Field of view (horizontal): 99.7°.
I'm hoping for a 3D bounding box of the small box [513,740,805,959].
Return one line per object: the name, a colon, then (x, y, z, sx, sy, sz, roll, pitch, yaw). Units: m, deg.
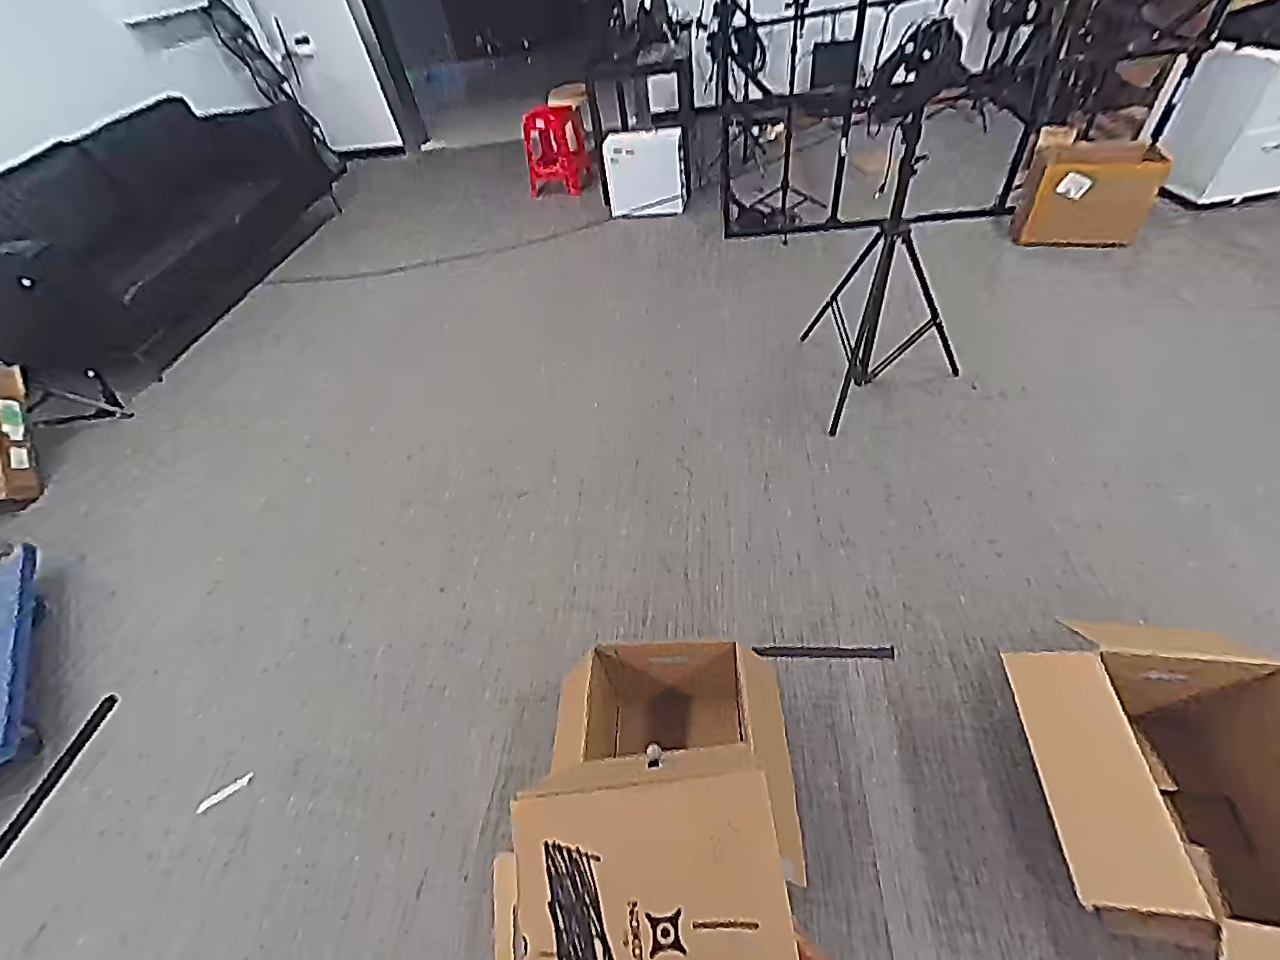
small box: (0.017, 0.300, 0.406, 0.179, 0.176, 0.168, -9, 69, 2)
